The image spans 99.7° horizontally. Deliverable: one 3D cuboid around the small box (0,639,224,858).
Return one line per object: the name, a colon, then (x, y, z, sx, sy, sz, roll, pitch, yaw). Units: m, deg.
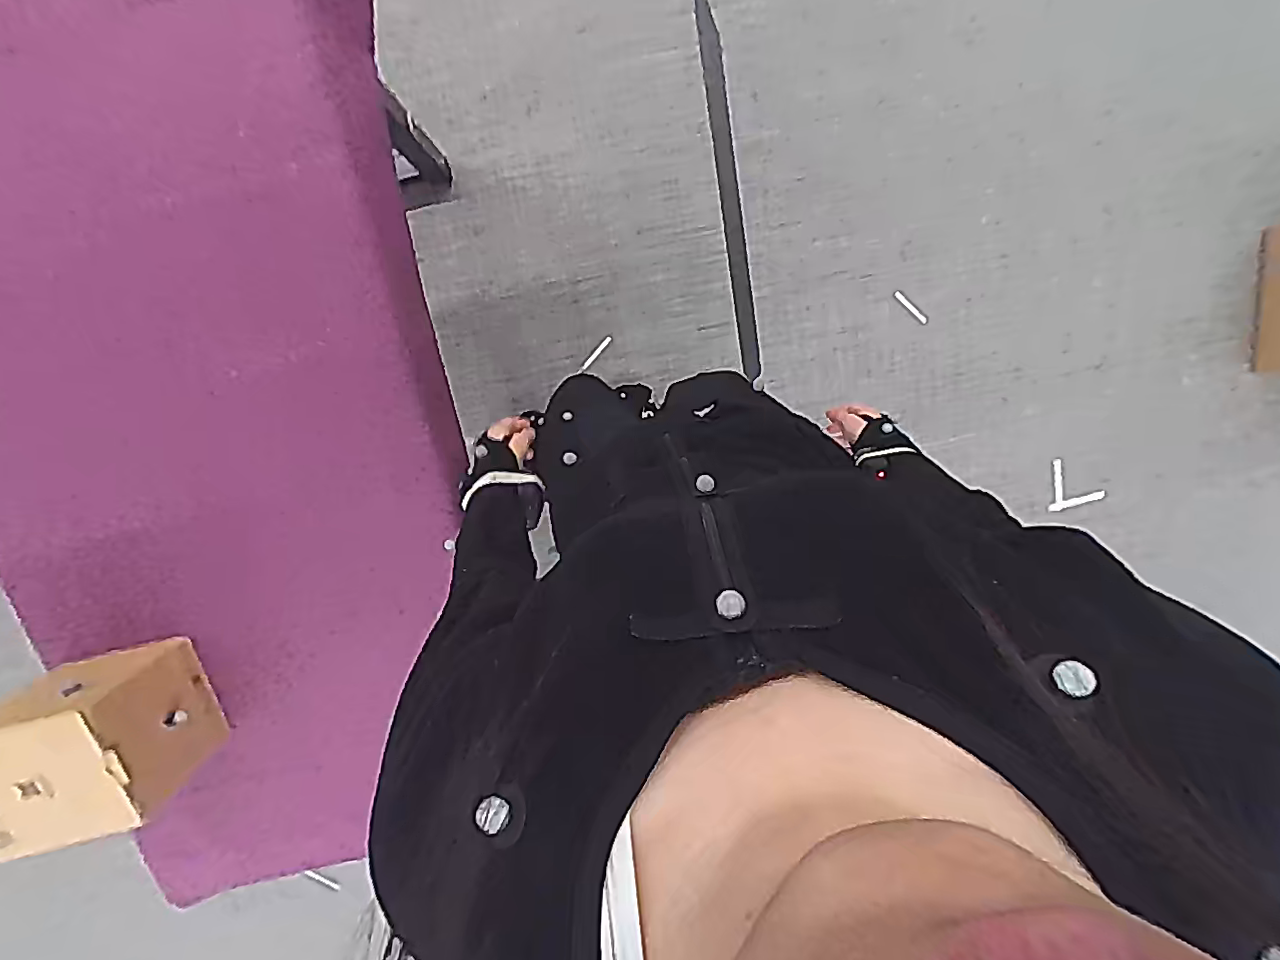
small box: (-0.687, 0.330, 0.697, 0.179, 0.176, 0.168, -13, 103, -3)
